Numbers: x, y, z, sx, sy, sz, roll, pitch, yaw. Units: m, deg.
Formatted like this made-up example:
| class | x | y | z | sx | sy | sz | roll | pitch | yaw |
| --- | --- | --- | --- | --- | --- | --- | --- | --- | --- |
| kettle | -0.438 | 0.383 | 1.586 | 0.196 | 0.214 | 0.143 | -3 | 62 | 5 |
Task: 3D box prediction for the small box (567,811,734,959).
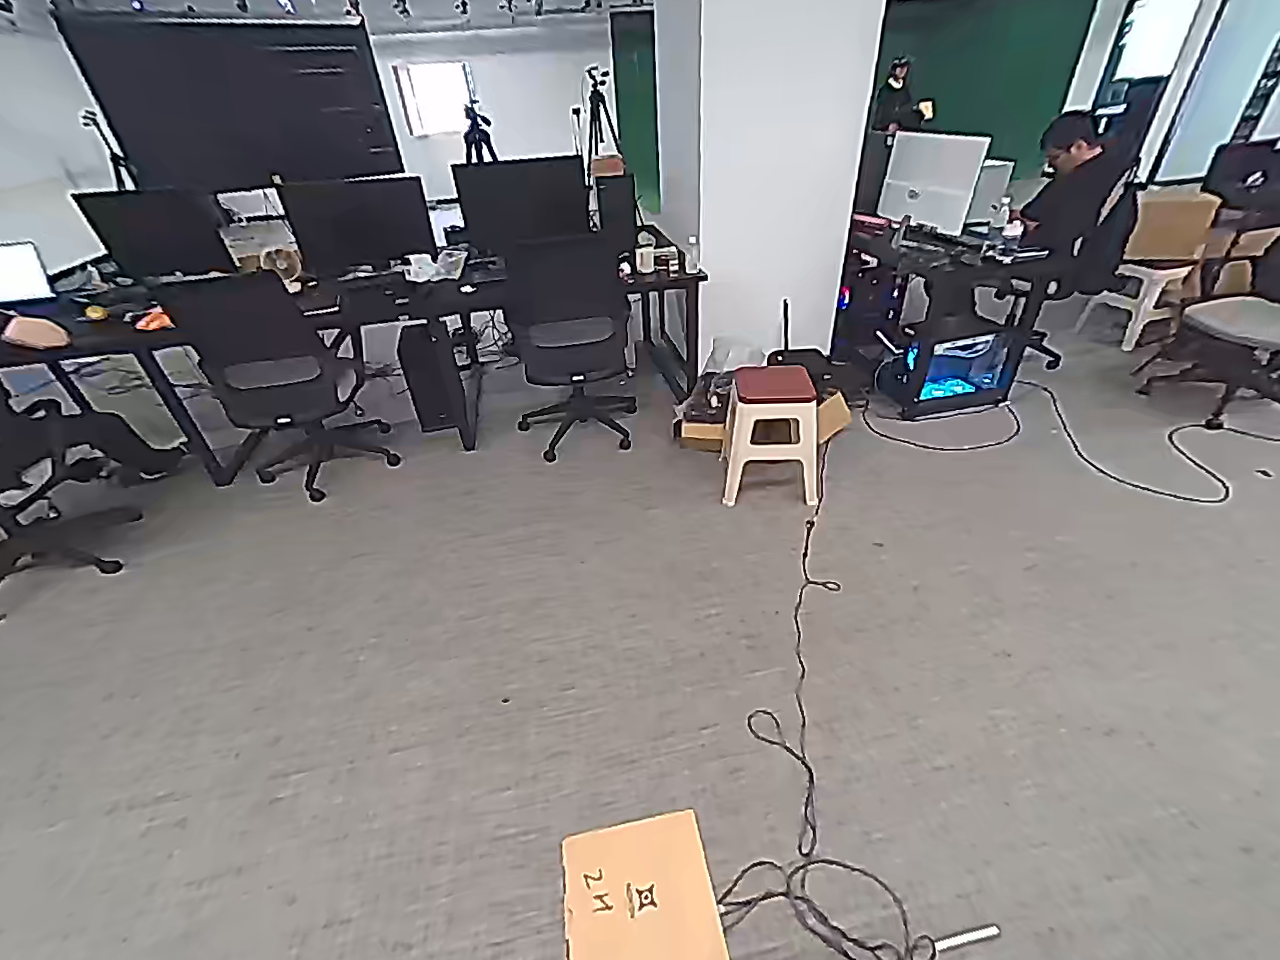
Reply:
| class | x | y | z | sx | sy | sz | roll | pitch | yaw |
| --- | --- | --- | --- | --- | --- | --- | --- | --- | --- |
| small box | 0.011 | 0.554 | 0.677 | 0.179 | 0.176 | 0.168 | -10 | 35 | -5 |
